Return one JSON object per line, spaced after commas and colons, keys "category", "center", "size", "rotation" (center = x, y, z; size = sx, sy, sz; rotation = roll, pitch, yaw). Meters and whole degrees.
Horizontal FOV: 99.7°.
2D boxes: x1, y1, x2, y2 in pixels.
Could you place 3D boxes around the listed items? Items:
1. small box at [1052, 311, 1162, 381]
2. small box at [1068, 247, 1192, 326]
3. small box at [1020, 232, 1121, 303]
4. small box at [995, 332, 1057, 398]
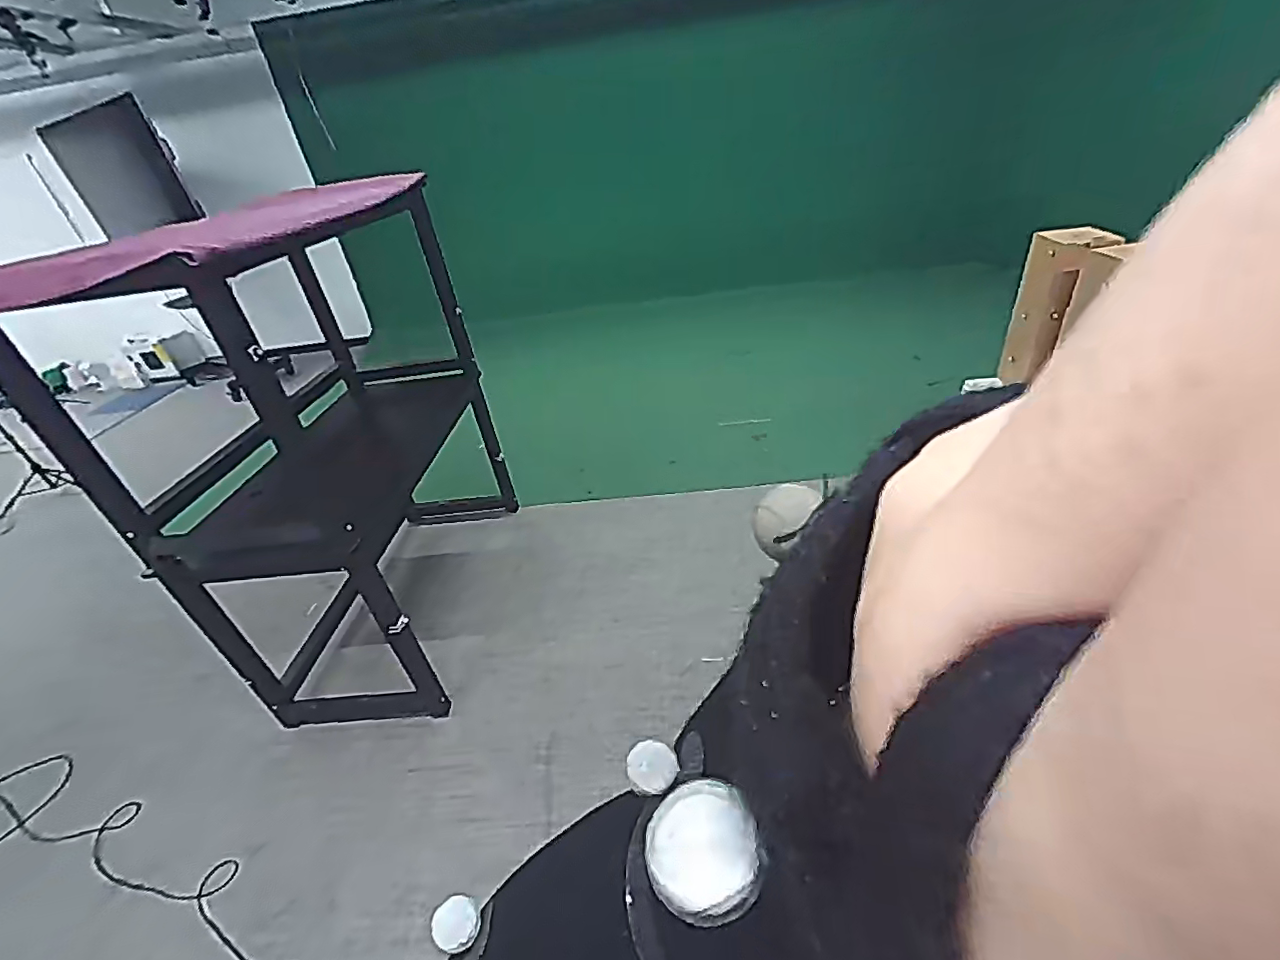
{"category": "small box", "center": [1.361, -0.402, 1.594], "size": [0.179, 0.176, 0.168], "rotation": [-5, 34, 4]}
{"category": "small box", "center": [1.344, -0.532, 1.498], "size": [0.168, 0.176, 0.179], "rotation": [-4, 32, 6]}
{"category": "small box", "center": [1.340, -0.667, 1.701], "size": [0.168, 0.176, 0.179], "rotation": [-3, 35, 6]}
{"category": "small box", "center": [1.378, -0.399, 1.884], "size": [0.168, 0.176, 0.179], "rotation": [-4, 35, 7]}
